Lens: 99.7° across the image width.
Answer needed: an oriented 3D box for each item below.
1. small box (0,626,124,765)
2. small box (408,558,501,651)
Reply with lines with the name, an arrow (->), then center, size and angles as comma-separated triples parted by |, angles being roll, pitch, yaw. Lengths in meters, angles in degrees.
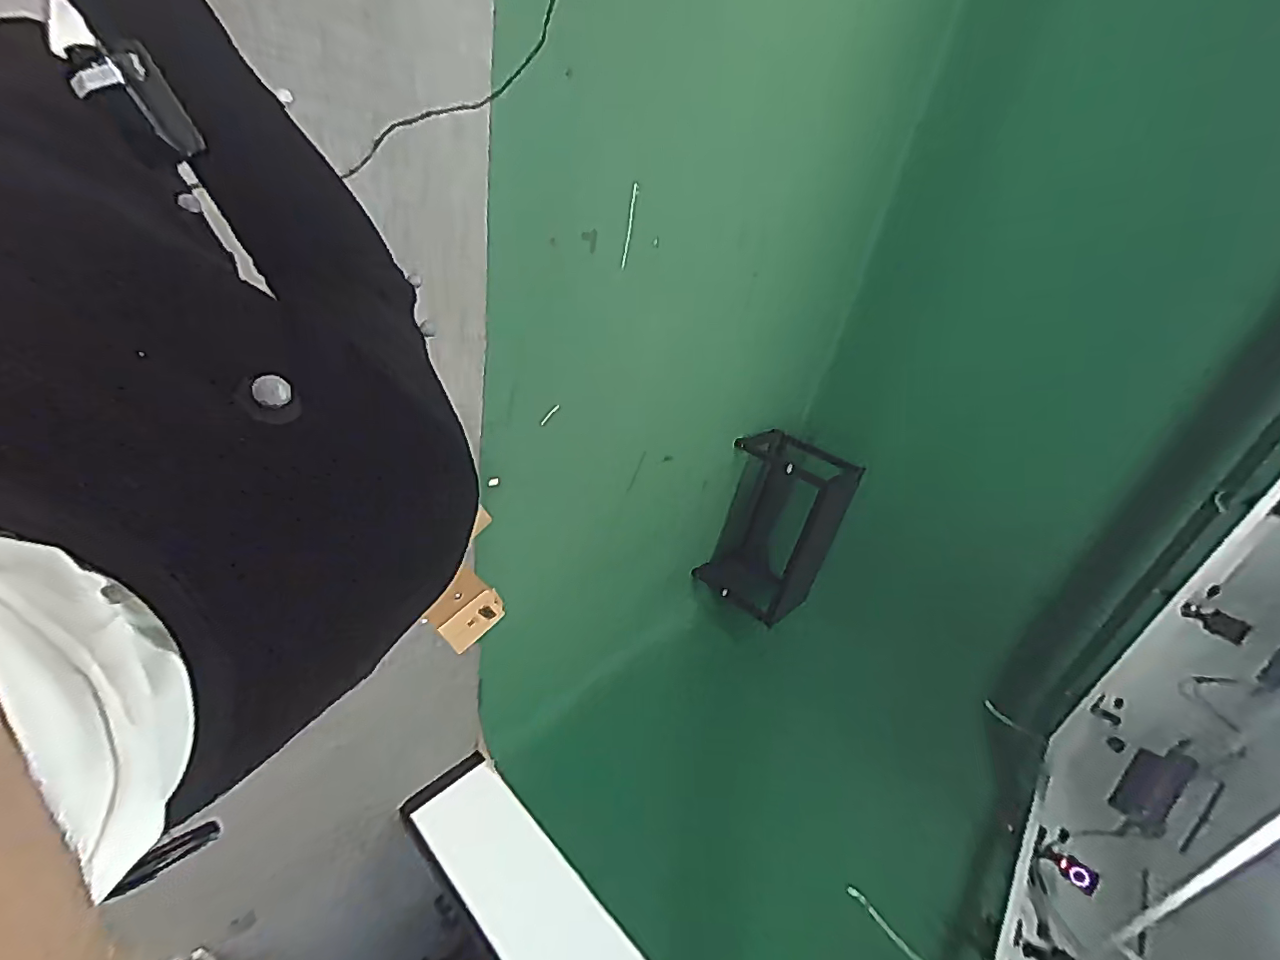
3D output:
small box -> -1.187, 0.421, 1.096 | 0.168, 0.176, 0.179 | -15, 127, -48
small box -> -0.554, 0.368, 1.621 | 0.179, 0.176, 0.168 | -42, 145, -25
